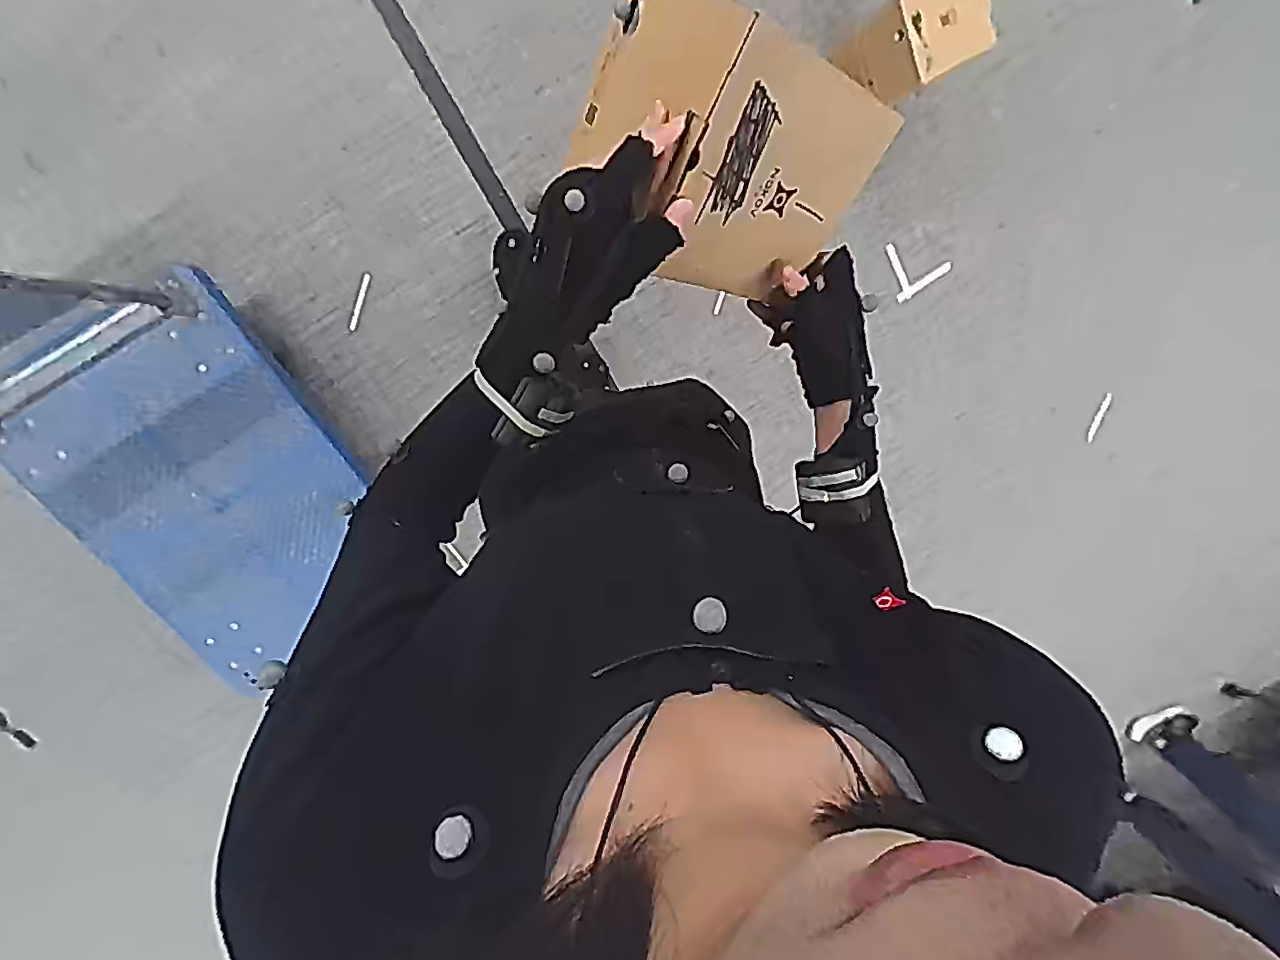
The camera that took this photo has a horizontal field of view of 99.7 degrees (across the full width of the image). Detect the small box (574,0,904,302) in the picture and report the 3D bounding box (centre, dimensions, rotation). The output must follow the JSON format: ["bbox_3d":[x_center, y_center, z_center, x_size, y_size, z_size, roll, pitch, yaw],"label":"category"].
[{"bbox_3d":[0.068,-0.280,0.455,0.179,0.176,0.168,-2,138,-39],"label":"small box"}]

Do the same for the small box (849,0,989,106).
[{"bbox_3d":[0.572,-0.905,1.123,0.179,0.176,0.168,-29,108,-2],"label":"small box"}]
